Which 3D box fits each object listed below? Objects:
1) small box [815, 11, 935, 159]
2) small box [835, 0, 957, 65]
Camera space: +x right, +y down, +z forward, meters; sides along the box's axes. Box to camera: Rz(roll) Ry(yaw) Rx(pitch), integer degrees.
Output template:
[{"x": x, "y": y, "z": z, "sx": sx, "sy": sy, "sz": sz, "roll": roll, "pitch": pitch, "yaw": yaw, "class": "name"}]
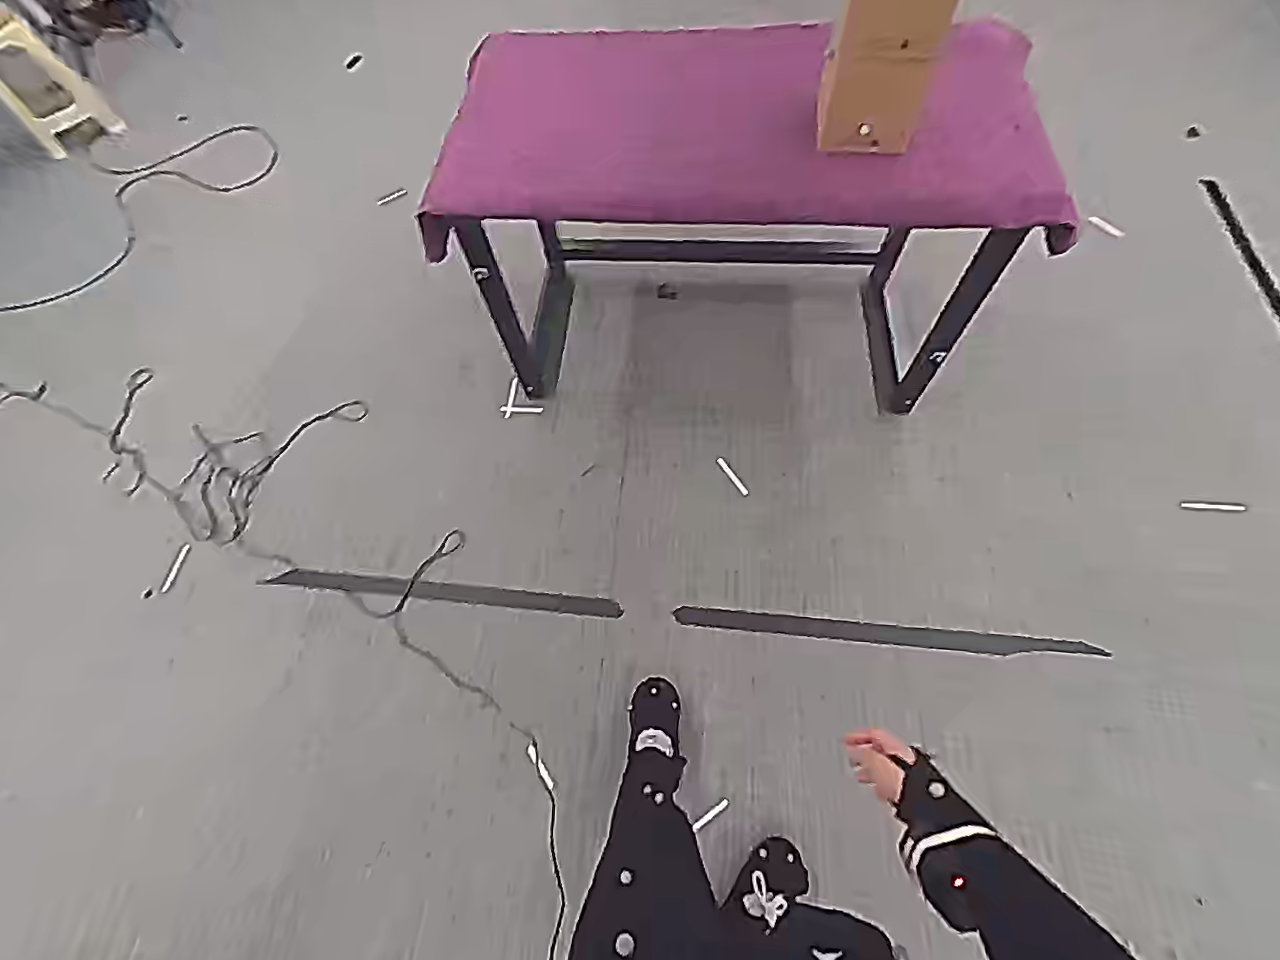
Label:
[{"x": 0.433, "y": -0.746, "z": 1.025, "sx": 0.168, "sy": 0.176, "sz": 0.179, "roll": 5, "pitch": 65, "yaw": 8, "class": "small box"}, {"x": 0.421, "y": -0.815, "z": 0.876, "sx": 0.168, "sy": 0.176, "sz": 0.179, "roll": 7, "pitch": 63, "yaw": 9, "class": "small box"}]
